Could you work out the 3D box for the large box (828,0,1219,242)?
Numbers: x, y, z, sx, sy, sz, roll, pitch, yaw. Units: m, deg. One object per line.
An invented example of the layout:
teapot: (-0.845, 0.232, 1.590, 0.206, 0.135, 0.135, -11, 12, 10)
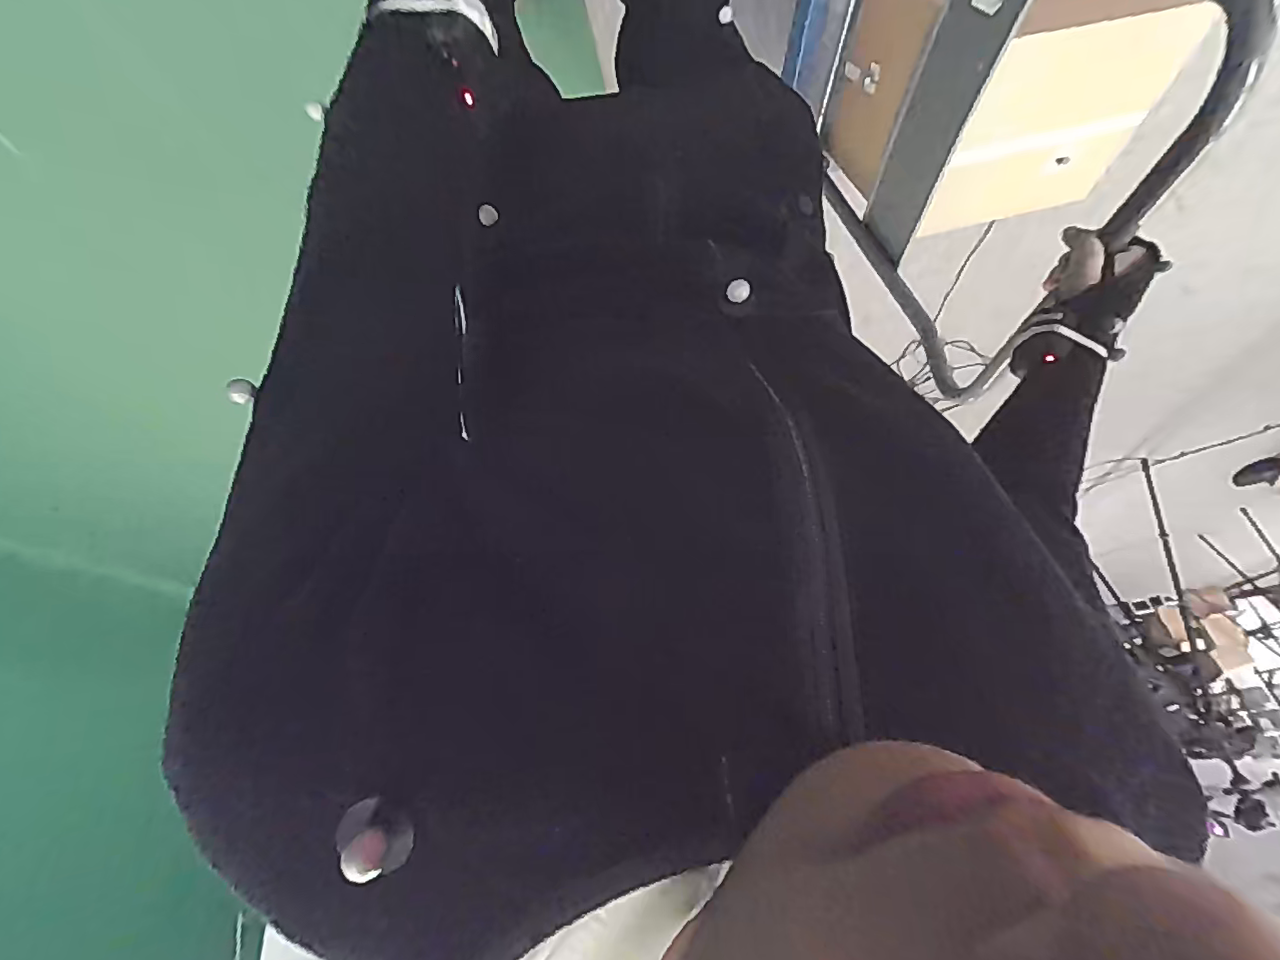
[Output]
large box: (0.618, -0.693, 0.967, 0.408, 0.320, 0.320, -16, 152, -8)
